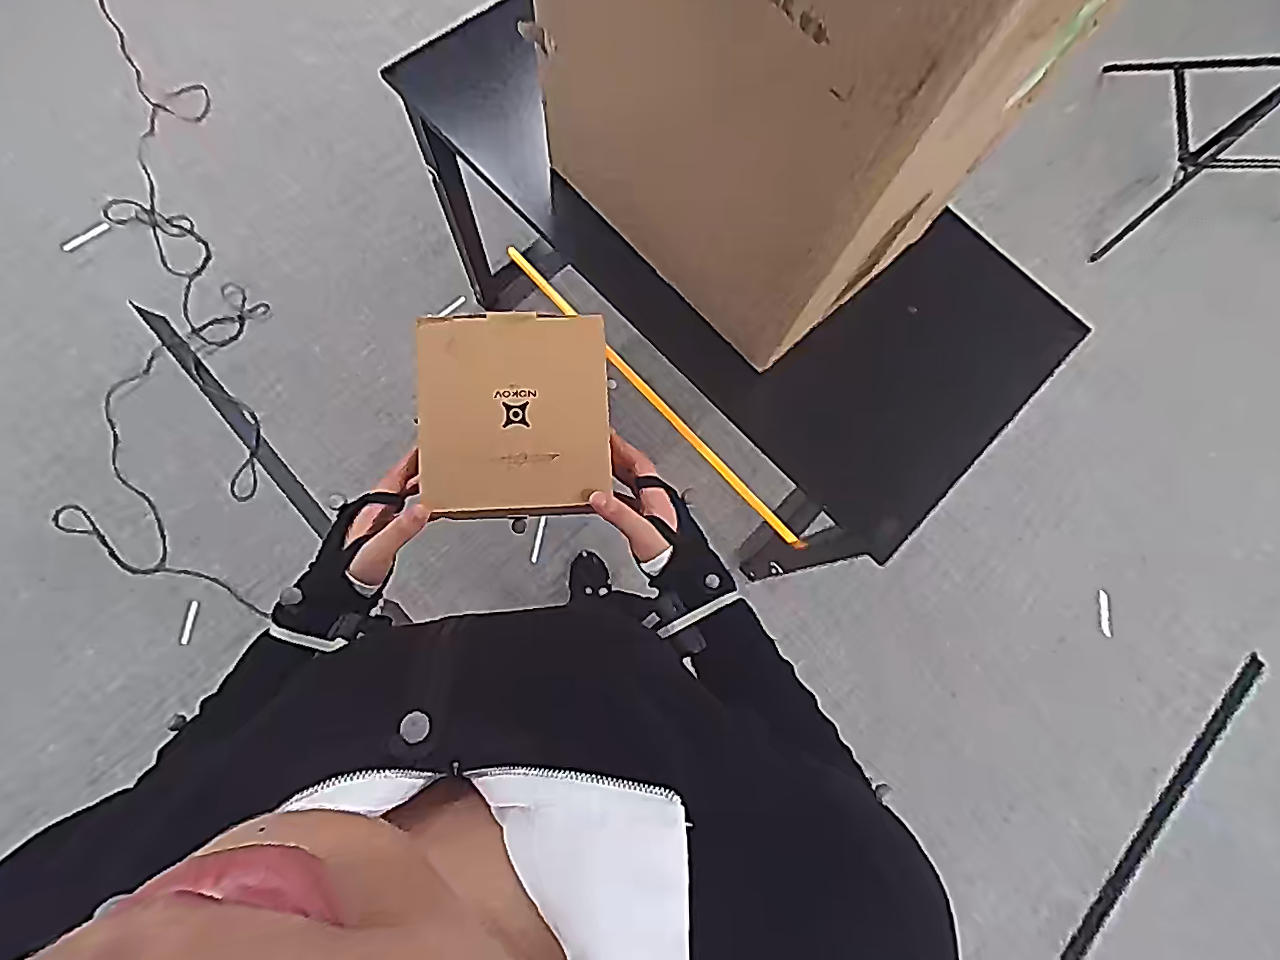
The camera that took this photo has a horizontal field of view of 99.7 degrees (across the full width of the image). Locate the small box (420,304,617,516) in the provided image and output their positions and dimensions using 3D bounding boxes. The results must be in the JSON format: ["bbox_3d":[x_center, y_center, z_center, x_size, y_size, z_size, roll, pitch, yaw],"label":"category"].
[{"bbox_3d":[-0.115,-0.058,0.543,0.168,0.176,0.179,-2,84,-7],"label":"small box"}]
